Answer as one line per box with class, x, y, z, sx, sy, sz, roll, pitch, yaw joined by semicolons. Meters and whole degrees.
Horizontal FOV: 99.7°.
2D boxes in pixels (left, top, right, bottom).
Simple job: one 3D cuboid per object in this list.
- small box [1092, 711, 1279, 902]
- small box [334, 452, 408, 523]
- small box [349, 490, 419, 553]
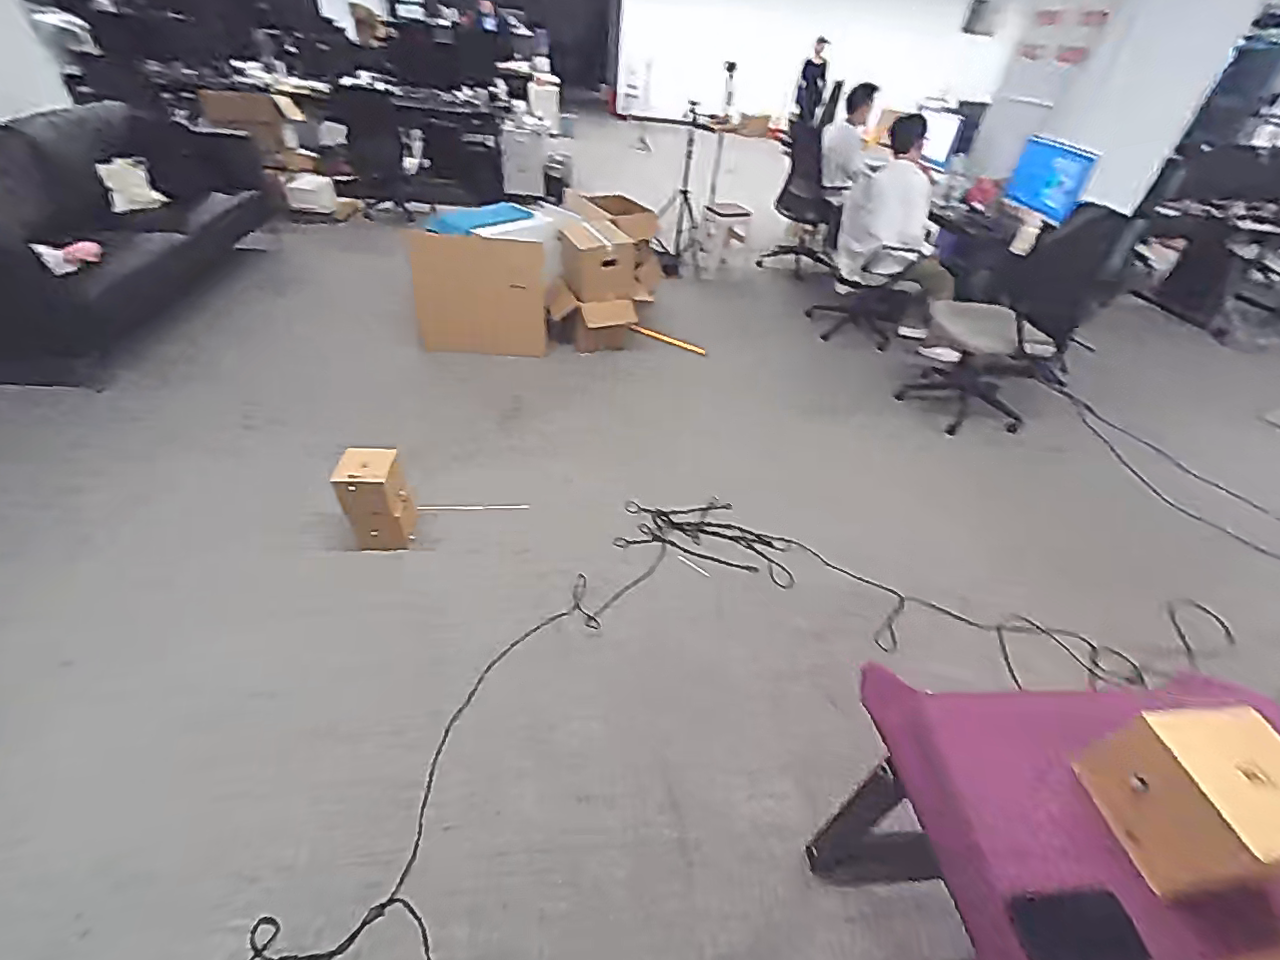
small box;0.745;0.423;0.702;0.179;0.176;0.168;1;40;-7
small box;-0.907;0.025;1.843;0.168;0.176;0.179;1;39;-5
small box;-0.914;0.150;1.949;0.179;0.176;0.168;0;40;-6
